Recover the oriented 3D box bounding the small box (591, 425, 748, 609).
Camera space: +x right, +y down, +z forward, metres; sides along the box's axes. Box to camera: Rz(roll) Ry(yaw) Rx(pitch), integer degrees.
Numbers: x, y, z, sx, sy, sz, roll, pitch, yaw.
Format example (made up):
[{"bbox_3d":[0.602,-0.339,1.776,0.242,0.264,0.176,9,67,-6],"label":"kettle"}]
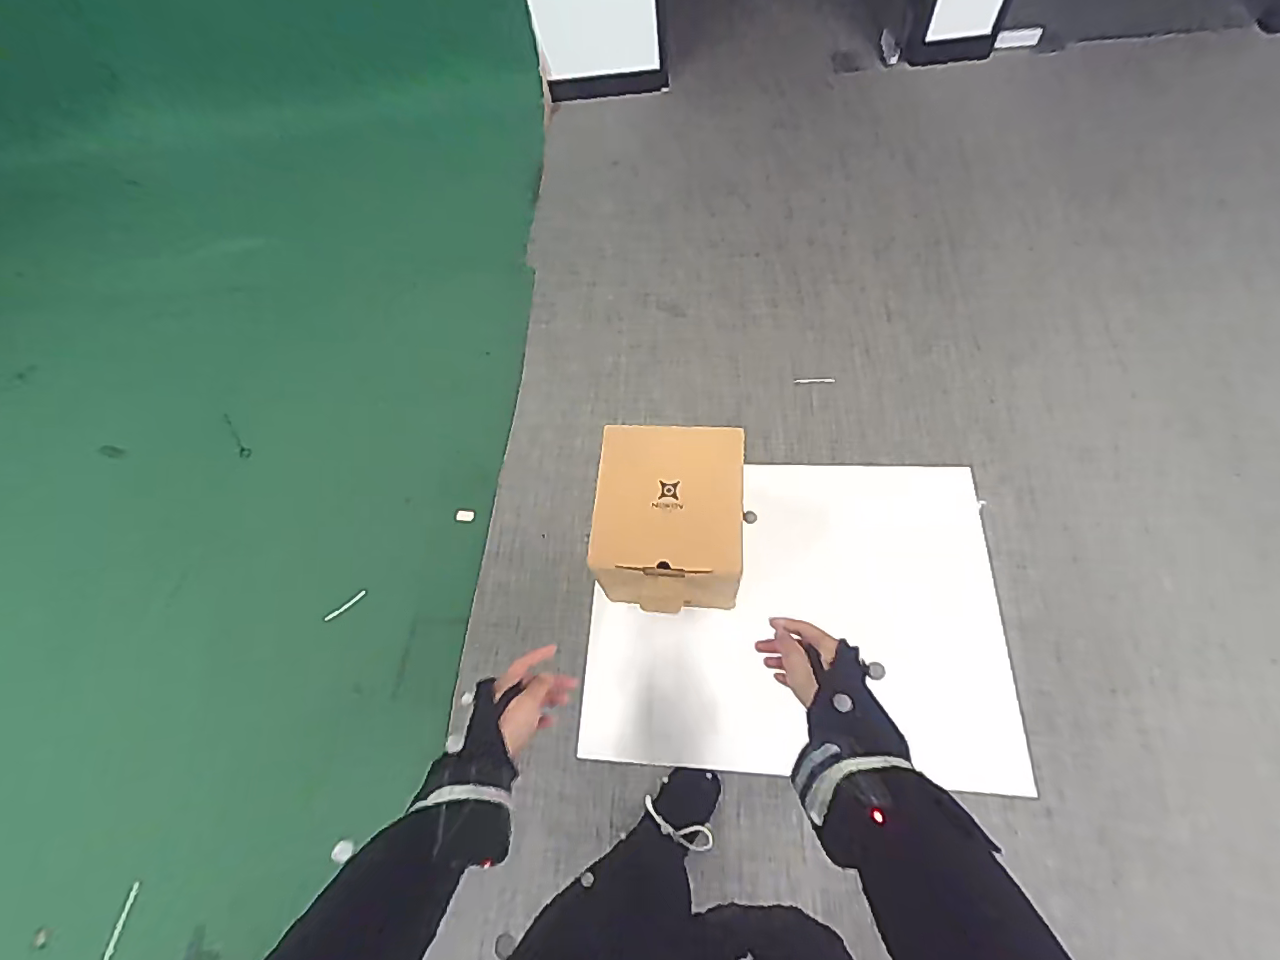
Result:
[{"bbox_3d":[0.042,0.051,0.669,0.168,0.176,0.179,2,66,7],"label":"small box"}]
